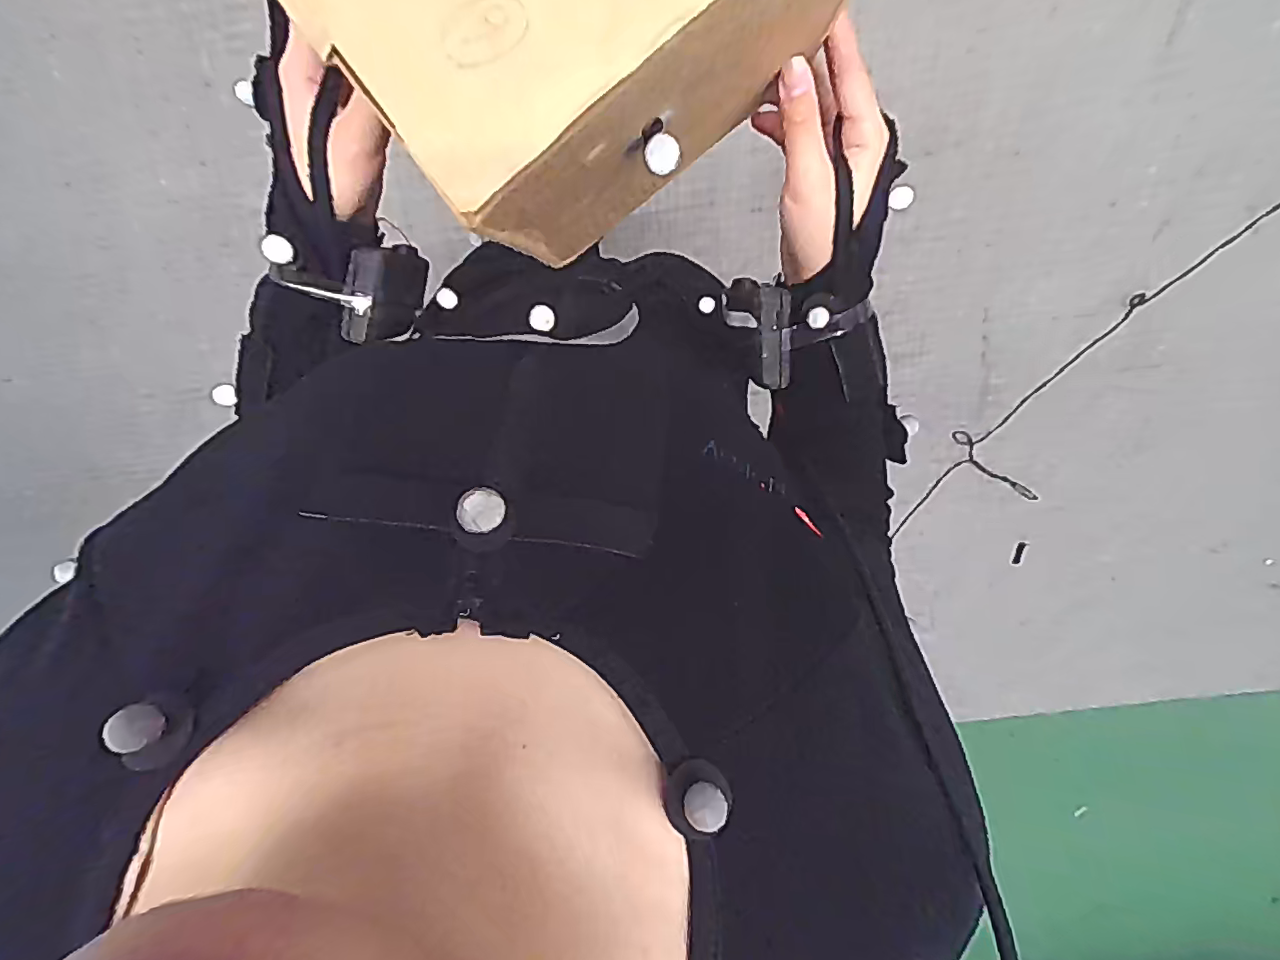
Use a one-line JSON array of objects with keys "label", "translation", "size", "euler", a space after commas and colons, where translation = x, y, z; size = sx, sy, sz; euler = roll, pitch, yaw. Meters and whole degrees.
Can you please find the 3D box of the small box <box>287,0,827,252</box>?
[{"label": "small box", "translation": [-0.031, -0.214, 0.212], "size": [0.179, 0.176, 0.168], "euler": [-34, 103, 12]}]
